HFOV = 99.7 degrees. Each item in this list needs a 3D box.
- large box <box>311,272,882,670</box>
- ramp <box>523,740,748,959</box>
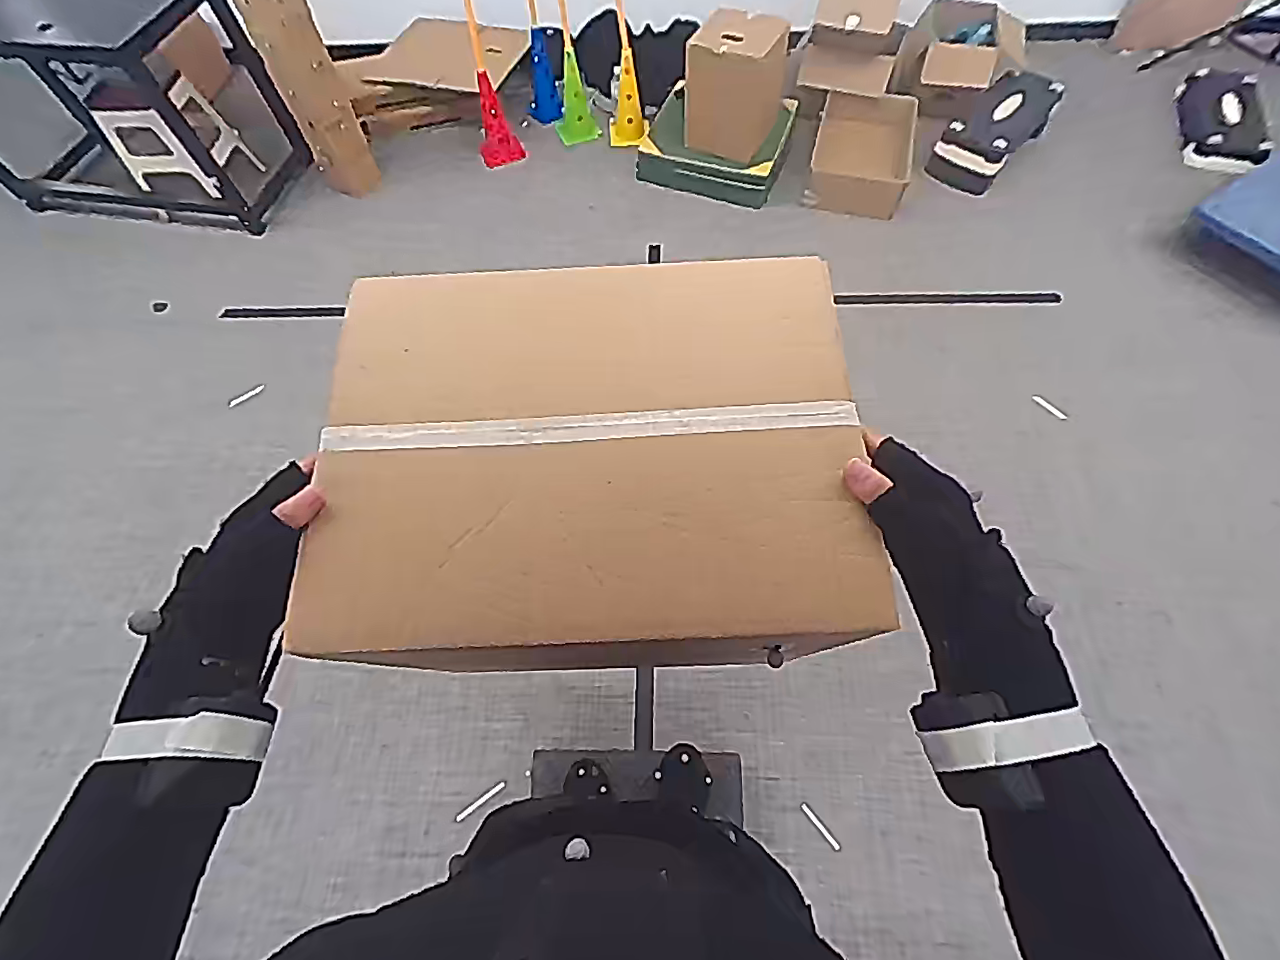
[{"bbox_3d":[-0.032,0.023,0.562,0.408,0.320,0.320,-3,68,1],"label":"large box"},{"bbox_3d":[-0.009,1.100,1.147,0.509,0.206,0.991,-1,63,0],"label":"ramp"}]
